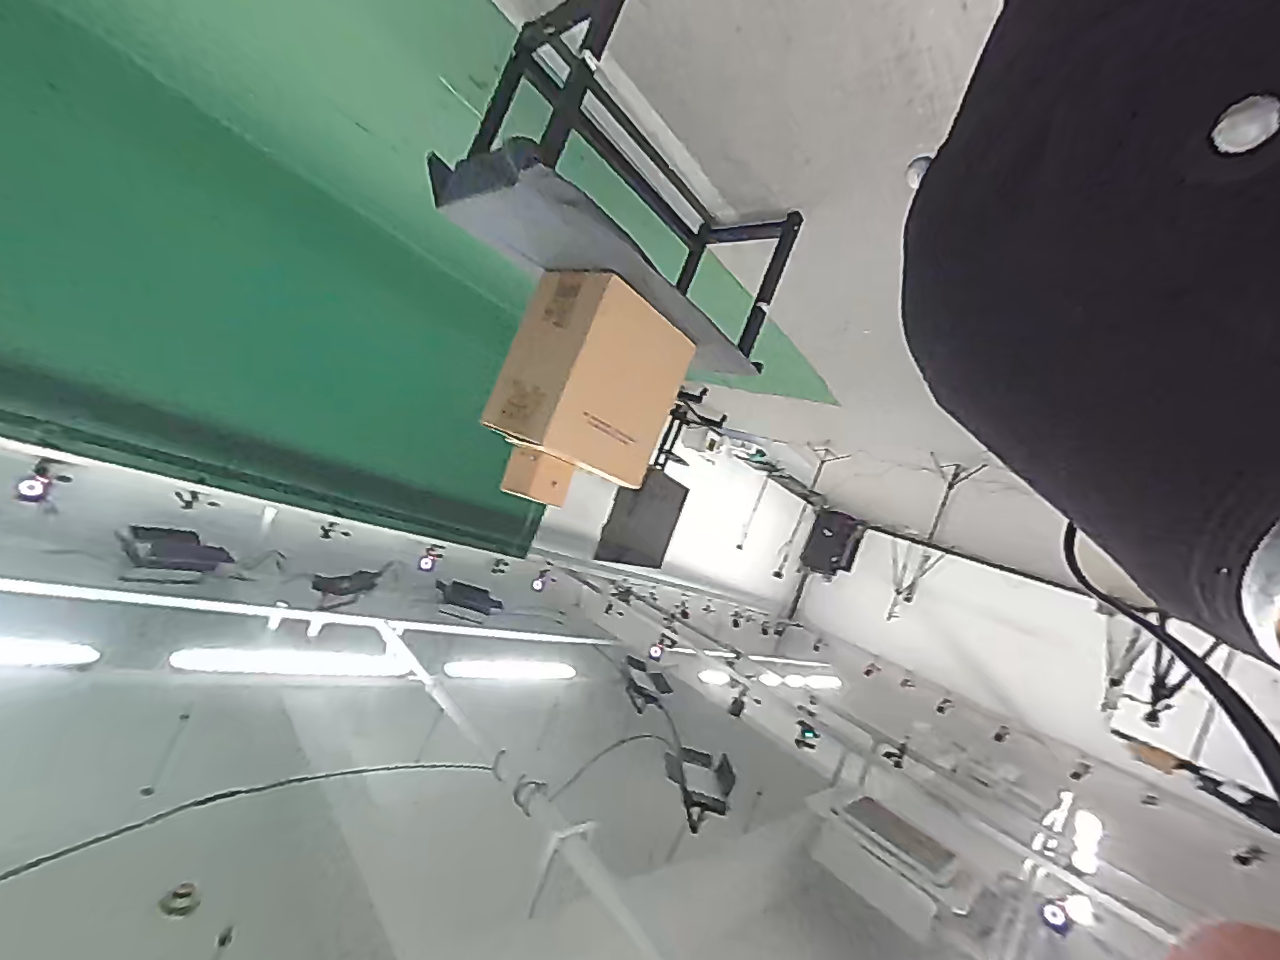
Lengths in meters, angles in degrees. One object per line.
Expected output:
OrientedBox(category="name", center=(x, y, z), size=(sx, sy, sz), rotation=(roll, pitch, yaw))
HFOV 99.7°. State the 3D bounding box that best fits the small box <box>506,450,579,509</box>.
OrientedBox(category="small box", center=(-0.357, -0.004, 1.996), size=(0.168, 0.176, 0.179), rotation=(12, 172, 40))
